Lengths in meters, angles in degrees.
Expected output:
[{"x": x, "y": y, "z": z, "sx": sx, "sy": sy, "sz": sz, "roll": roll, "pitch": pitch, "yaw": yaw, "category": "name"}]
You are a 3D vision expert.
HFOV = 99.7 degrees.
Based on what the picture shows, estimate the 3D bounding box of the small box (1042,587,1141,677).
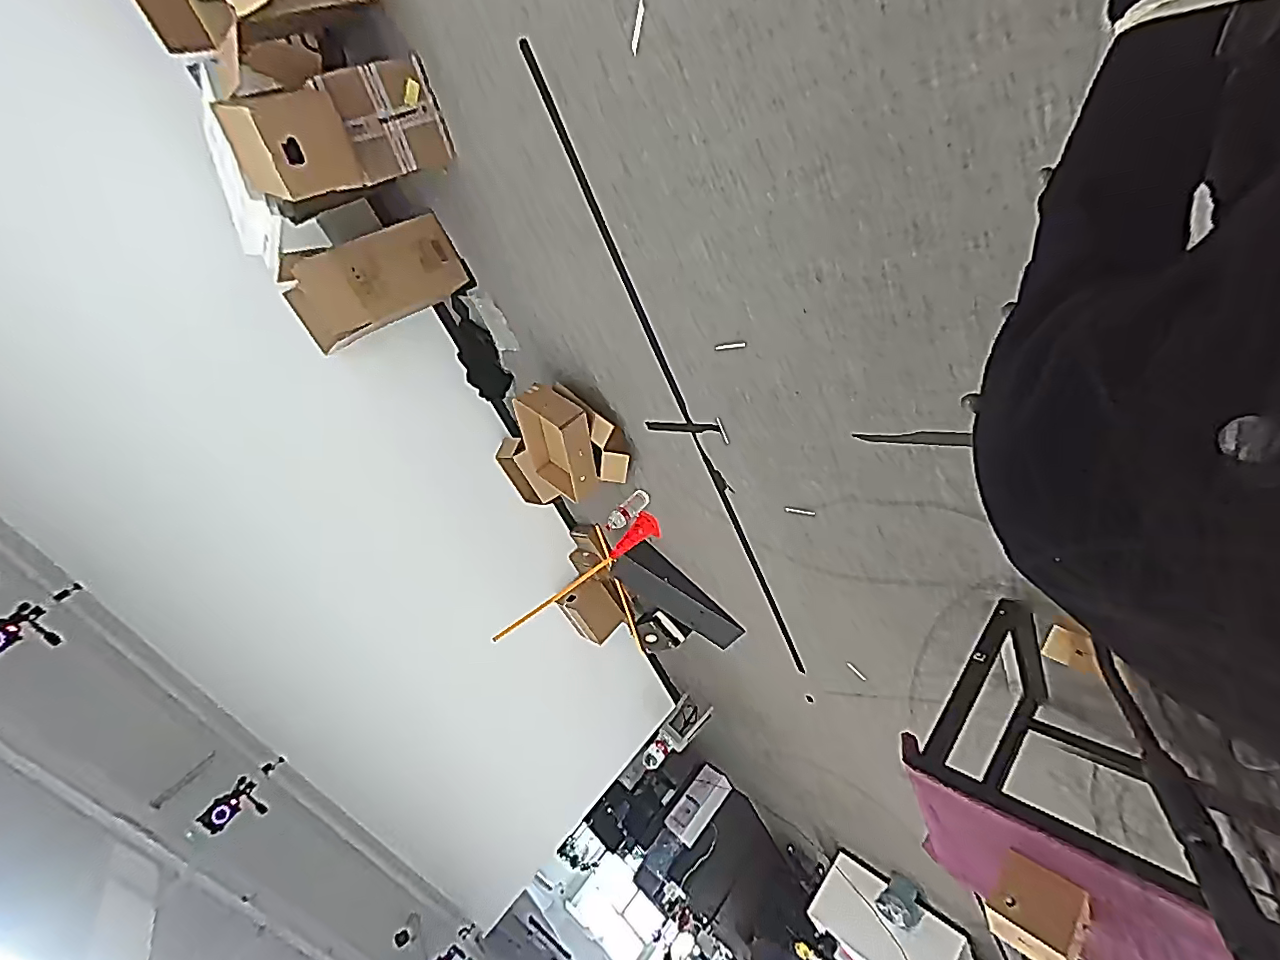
[{"x": 1.374, "y": 0.455, "z": 1.647, "sx": 0.179, "sy": 0.176, "sz": 0.168, "roll": 24, "pitch": 143, "yaw": 38, "category": "small box"}]

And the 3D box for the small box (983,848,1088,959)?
[{"x": 1.017, "y": 1.091, "z": 1.388, "sx": 0.179, "sy": 0.176, "sz": 0.168, "roll": 11, "pitch": 135, "yaw": 50, "category": "small box"}]
